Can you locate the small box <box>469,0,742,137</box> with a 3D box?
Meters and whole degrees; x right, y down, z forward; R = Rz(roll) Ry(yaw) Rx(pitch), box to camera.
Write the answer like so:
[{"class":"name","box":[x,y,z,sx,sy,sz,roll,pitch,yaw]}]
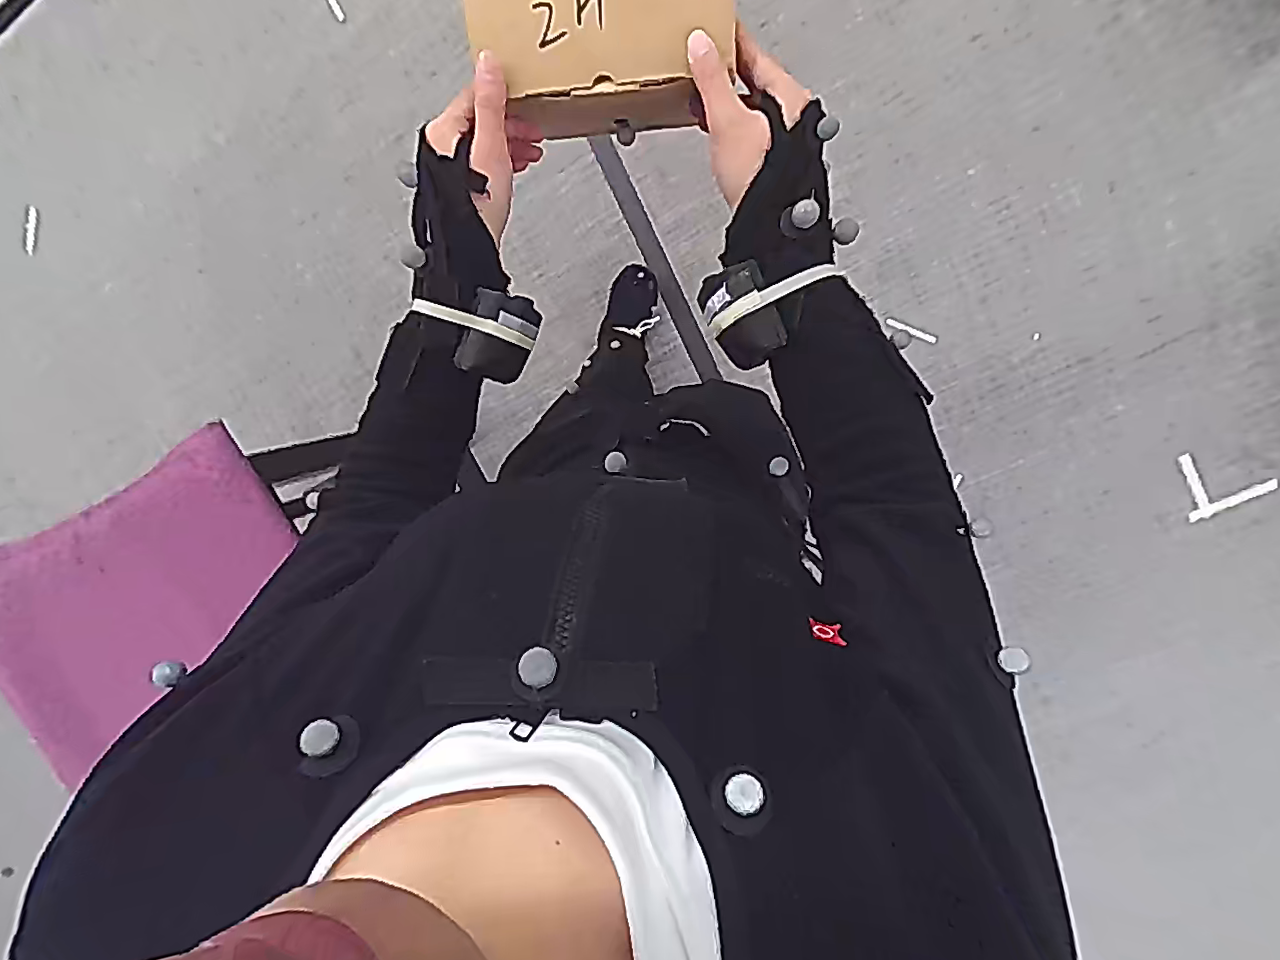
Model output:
[{"class":"small box","box":[-0.016,-0.358,0.375,0.168,0.176,0.179,0,114,7]}]
